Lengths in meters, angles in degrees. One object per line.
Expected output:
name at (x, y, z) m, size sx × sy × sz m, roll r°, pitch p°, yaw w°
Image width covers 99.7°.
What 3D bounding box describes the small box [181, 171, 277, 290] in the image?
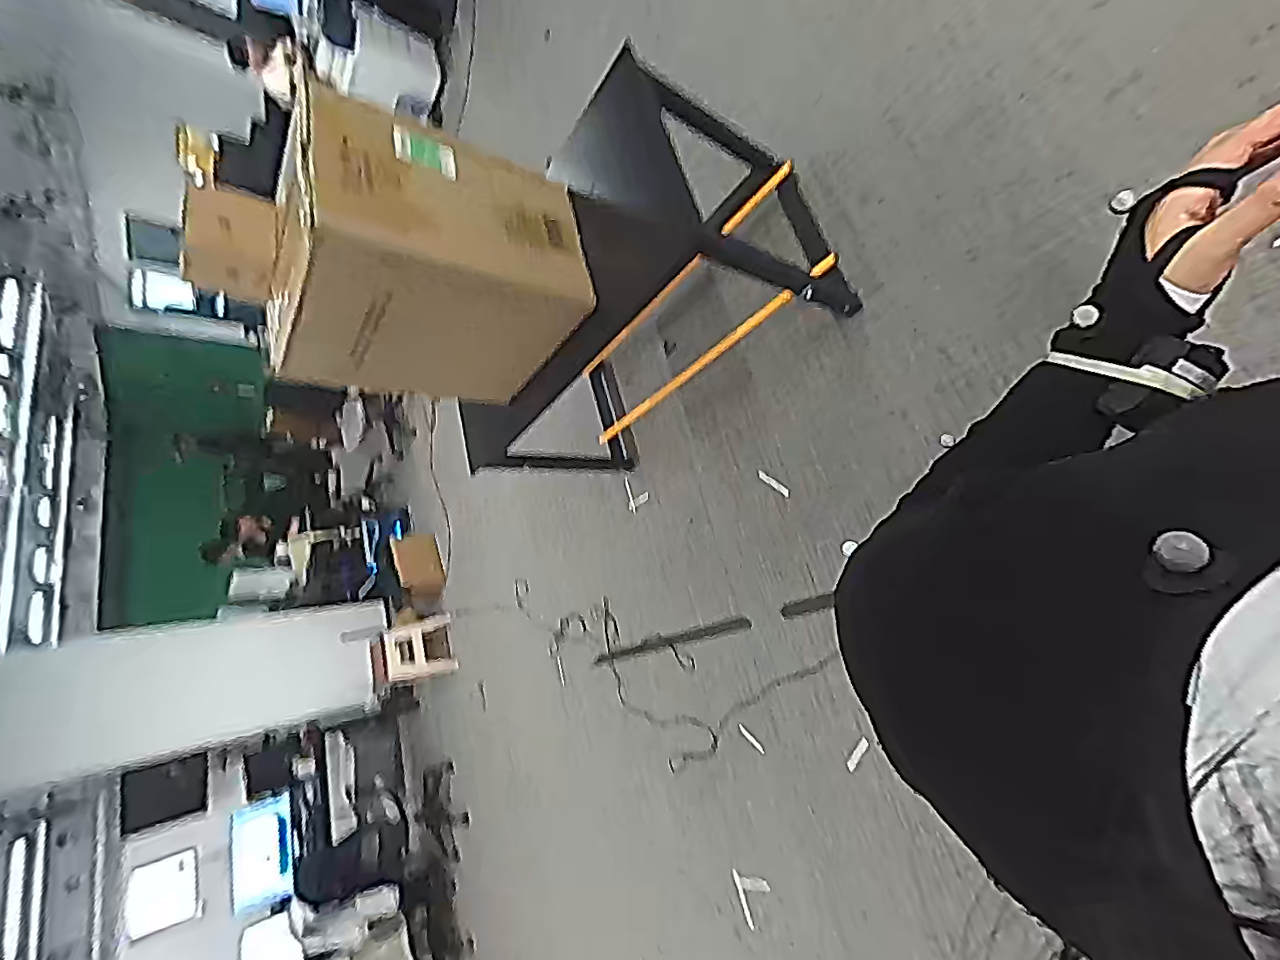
small box at (-0.956, -0.566, 1.259) m, size 0.168 × 0.176 × 0.179 m, roll -32°, pitch 65°, yaw 43°
